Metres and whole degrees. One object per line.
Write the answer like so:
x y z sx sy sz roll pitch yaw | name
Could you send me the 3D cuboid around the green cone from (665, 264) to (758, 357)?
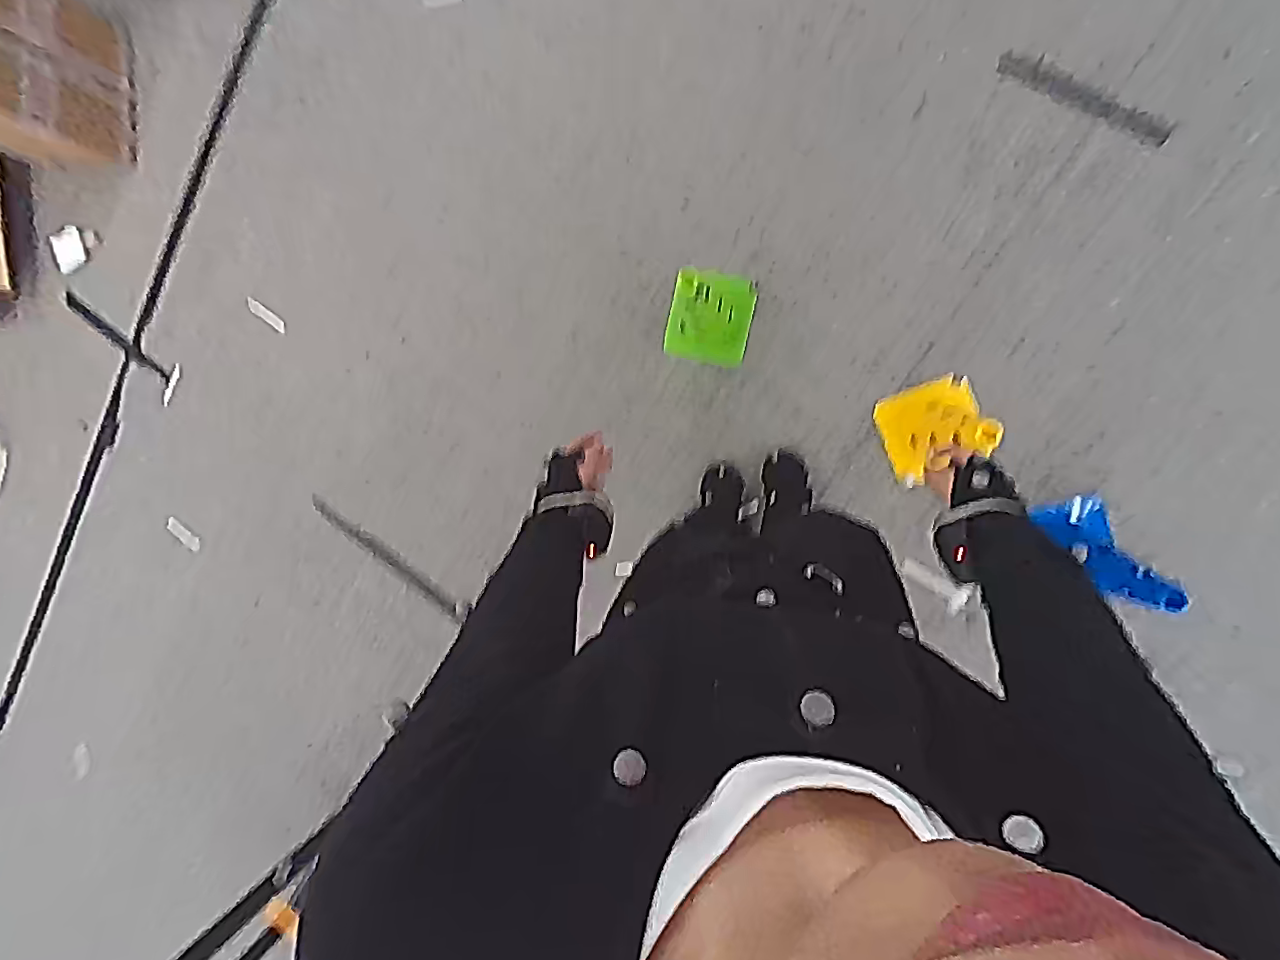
0.126 -0.389 1.144 0.200 0.368 0.202 13 100 13 | green cone
